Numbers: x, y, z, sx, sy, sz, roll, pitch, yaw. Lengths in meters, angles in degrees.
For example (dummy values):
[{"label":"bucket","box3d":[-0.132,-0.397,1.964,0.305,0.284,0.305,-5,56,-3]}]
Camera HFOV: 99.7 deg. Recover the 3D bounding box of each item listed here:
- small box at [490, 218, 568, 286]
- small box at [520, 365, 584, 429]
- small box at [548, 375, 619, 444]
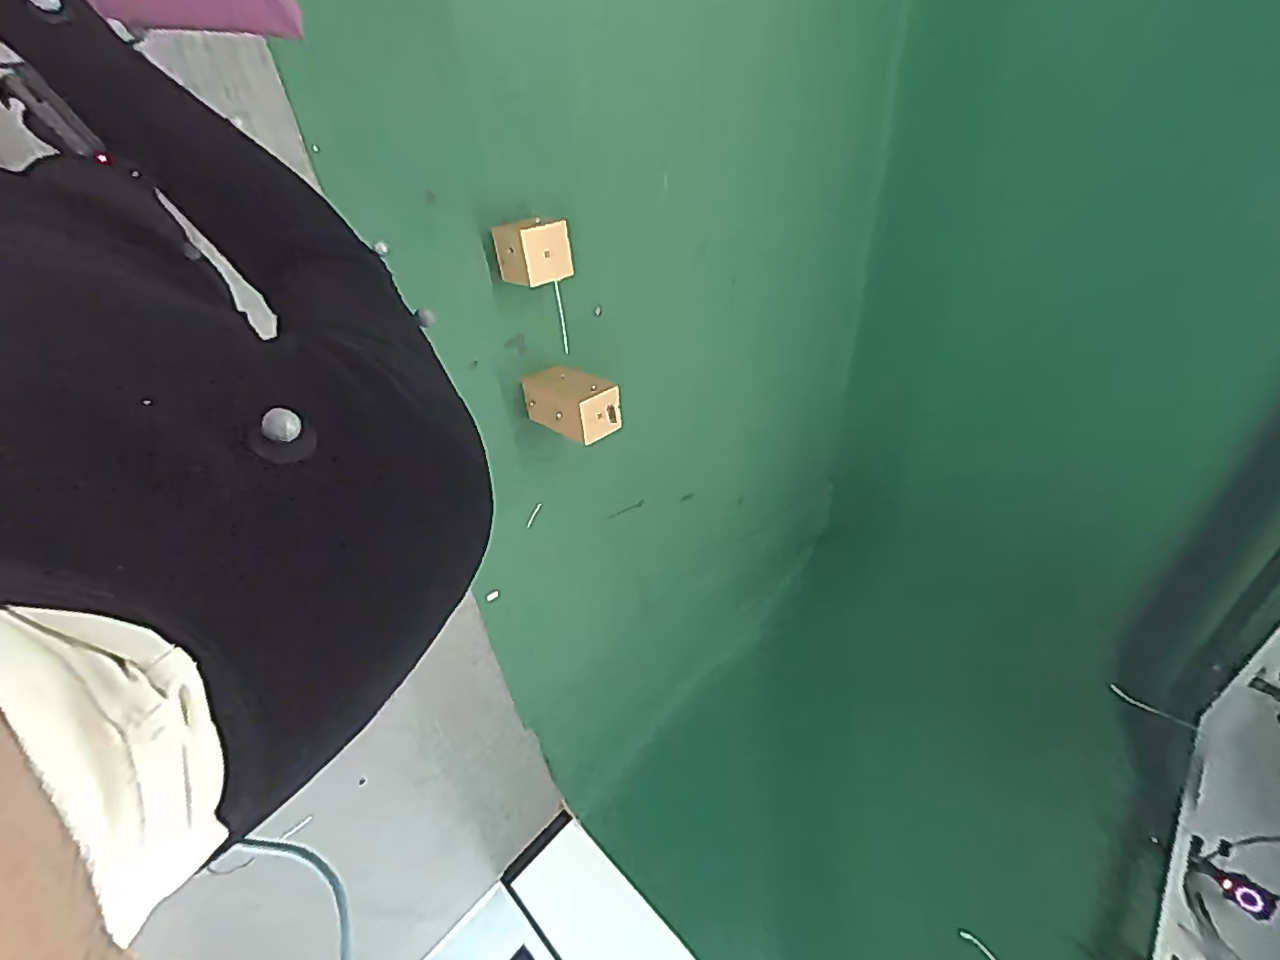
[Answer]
[{"label":"small box","box3d":[-0.359,-0.731,1.724,0.179,0.176,0.168,-34,133,-34]},{"label":"small box","box3d":[-0.317,-0.313,2.002,0.179,0.176,0.168,-32,132,-35]},{"label":"small box","box3d":[-0.198,-0.256,1.903,0.179,0.176,0.168,-33,132,-34]}]
